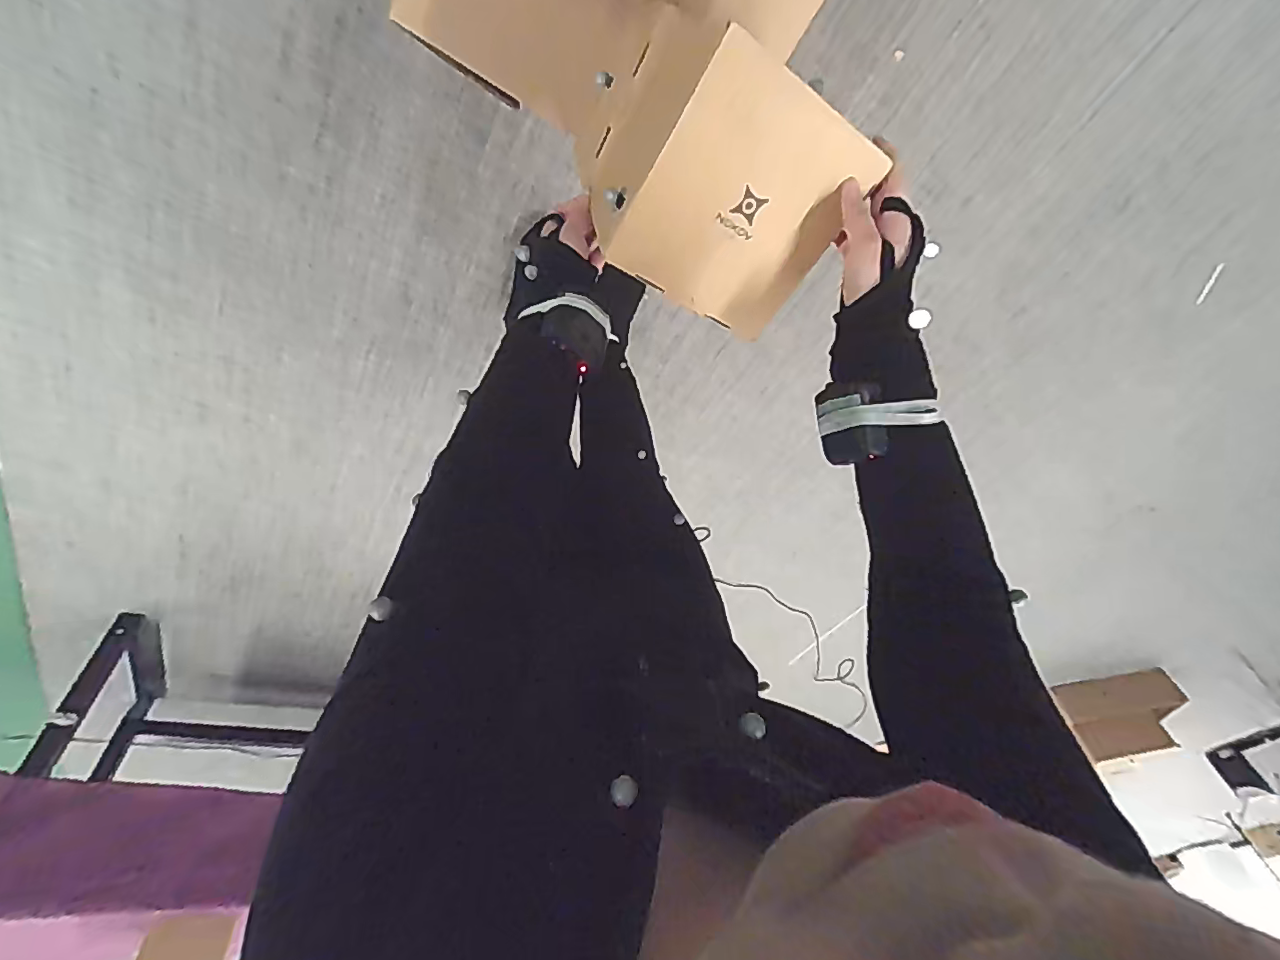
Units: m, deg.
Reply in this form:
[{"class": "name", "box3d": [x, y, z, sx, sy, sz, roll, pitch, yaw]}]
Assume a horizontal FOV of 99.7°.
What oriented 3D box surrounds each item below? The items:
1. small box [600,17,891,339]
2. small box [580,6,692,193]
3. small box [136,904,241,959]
[{"class": "small box", "box3d": [0.073, -0.268, 0.484, 0.168, 0.176, 0.179, 20, 127, -26]}, {"class": "small box", "box3d": [0.048, -0.383, 0.599, 0.179, 0.176, 0.168, 20, 126, -26]}, {"class": "small box", "box3d": [-1.077, 1.122, 1.278, 0.179, 0.176, 0.168, 18, 128, -23]}]
